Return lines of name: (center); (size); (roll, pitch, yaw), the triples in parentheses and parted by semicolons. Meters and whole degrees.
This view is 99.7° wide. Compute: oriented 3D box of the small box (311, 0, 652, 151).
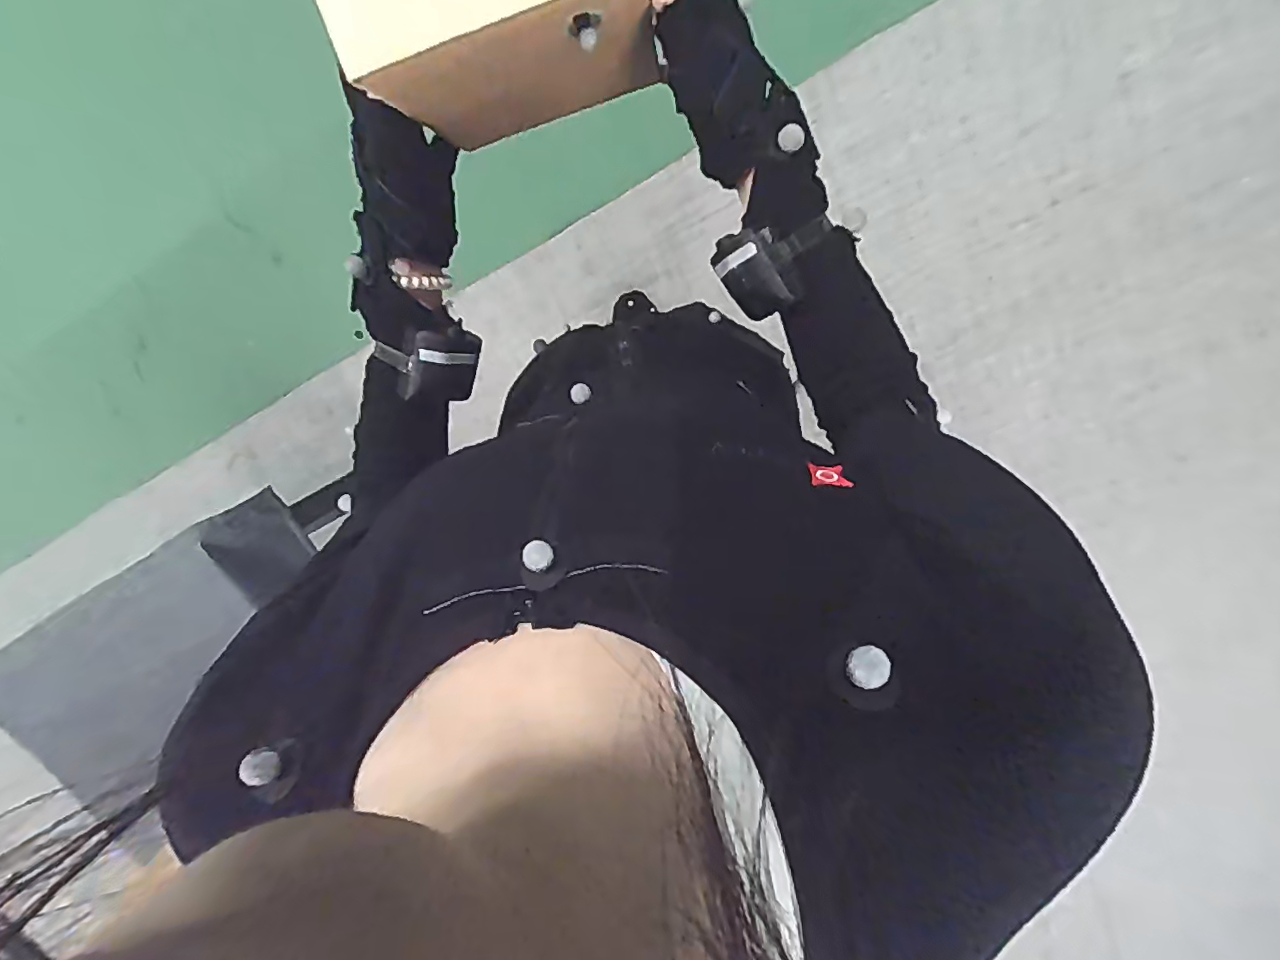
small box: (-0.099, -0.338, 0.342); (0.179, 0.176, 0.168); (-14, 107, 9)

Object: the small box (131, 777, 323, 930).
small box: (-0.692, 0.657, 0.937); (0.179, 0.176, 0.168); (-27, 104, 13)

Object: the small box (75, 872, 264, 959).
small box: (-0.710, 0.726, 0.789); (0.179, 0.176, 0.168); (-29, 104, 12)
